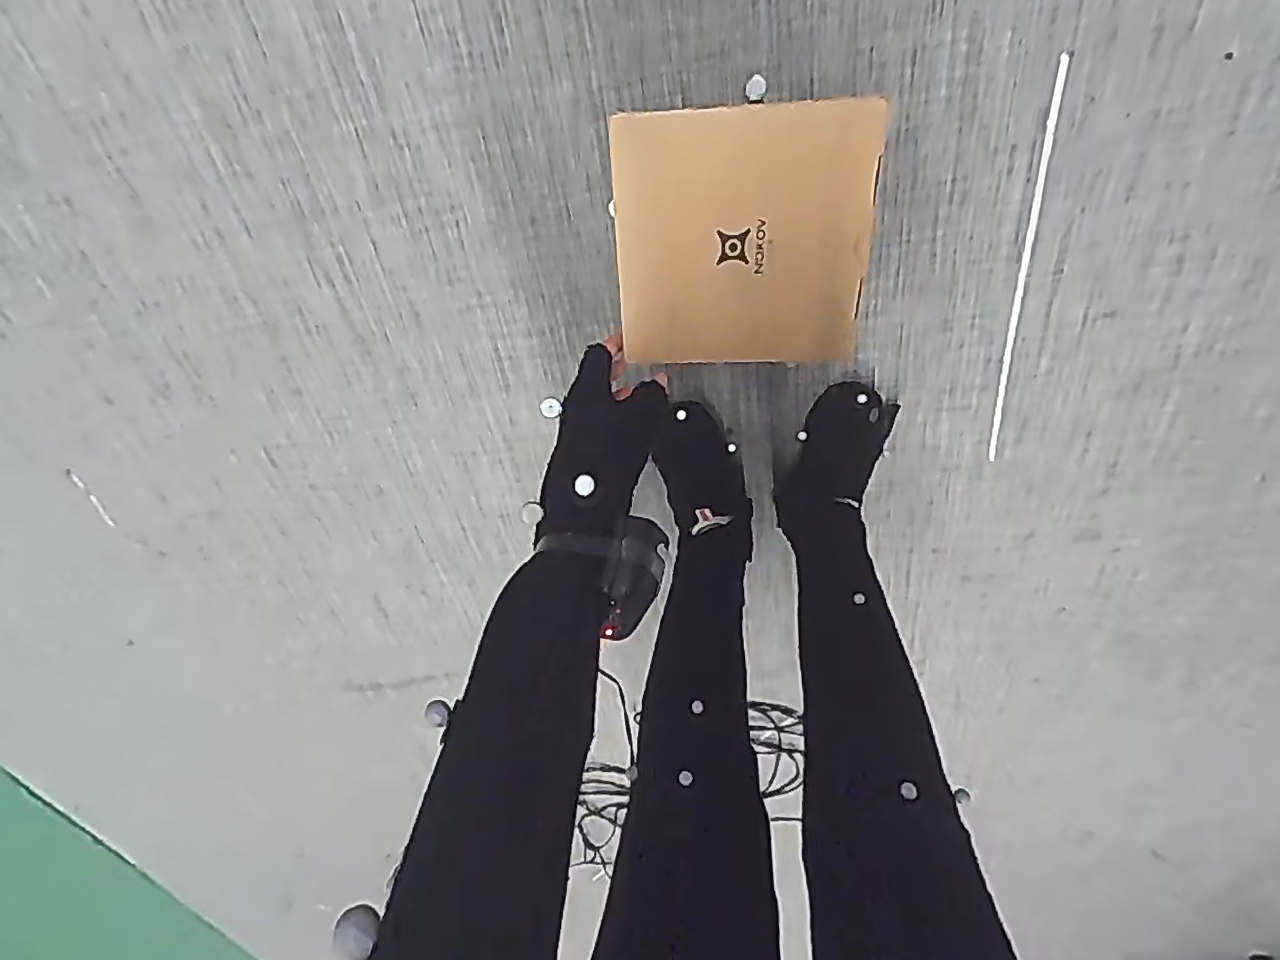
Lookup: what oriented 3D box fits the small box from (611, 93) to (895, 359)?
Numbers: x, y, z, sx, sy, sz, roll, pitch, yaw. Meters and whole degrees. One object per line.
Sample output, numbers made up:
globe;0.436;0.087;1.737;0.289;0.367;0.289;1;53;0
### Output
small box;0.079;-0.204;0.442;0.179;0.176;0.168;0;121;6
